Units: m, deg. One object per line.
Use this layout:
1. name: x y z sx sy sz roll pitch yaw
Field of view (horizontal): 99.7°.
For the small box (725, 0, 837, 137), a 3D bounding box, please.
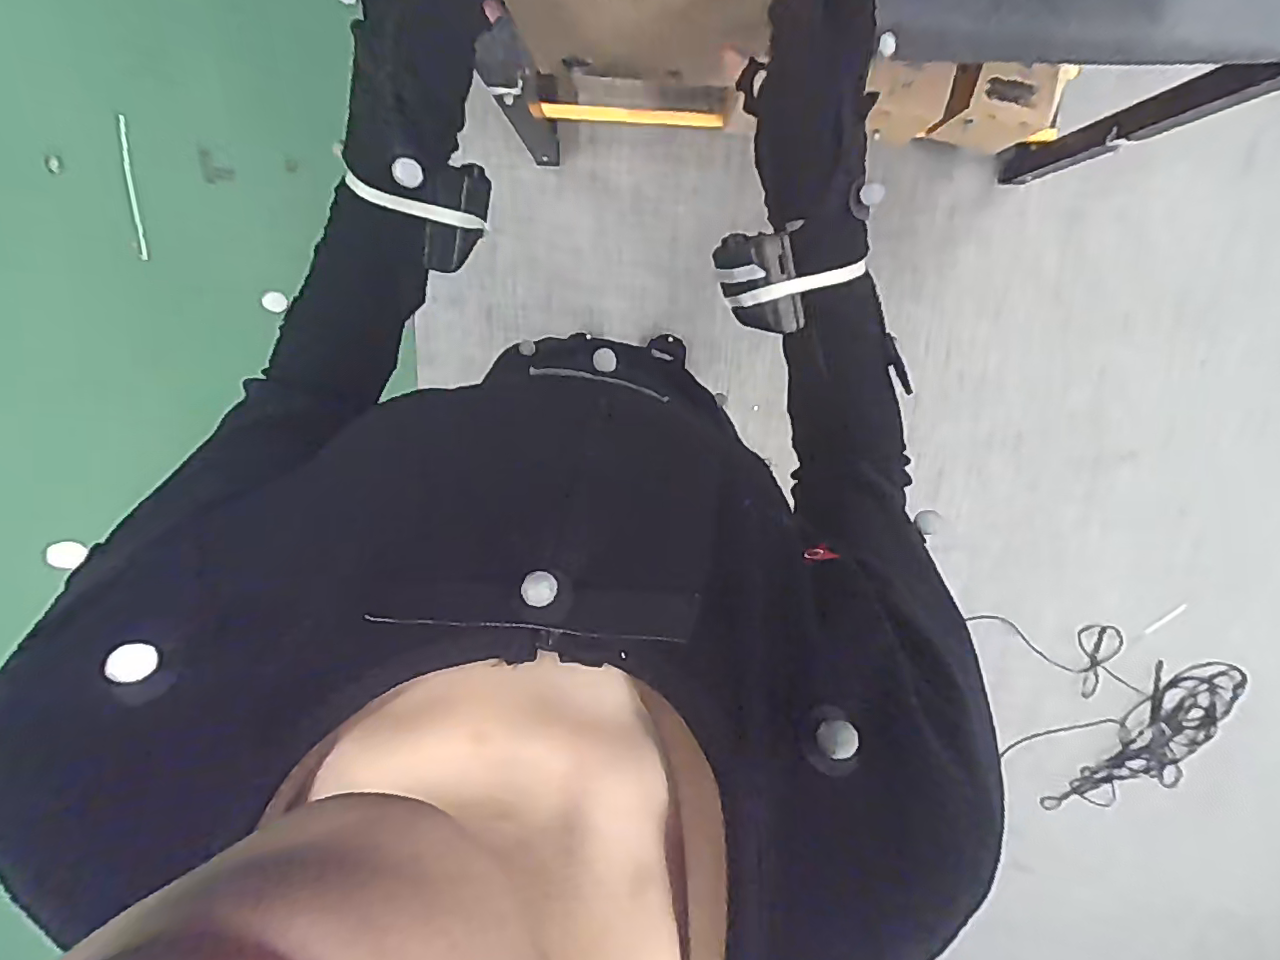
1. small box: 0.270 -0.816 1.078 0.168 0.176 0.179 4 108 -1
